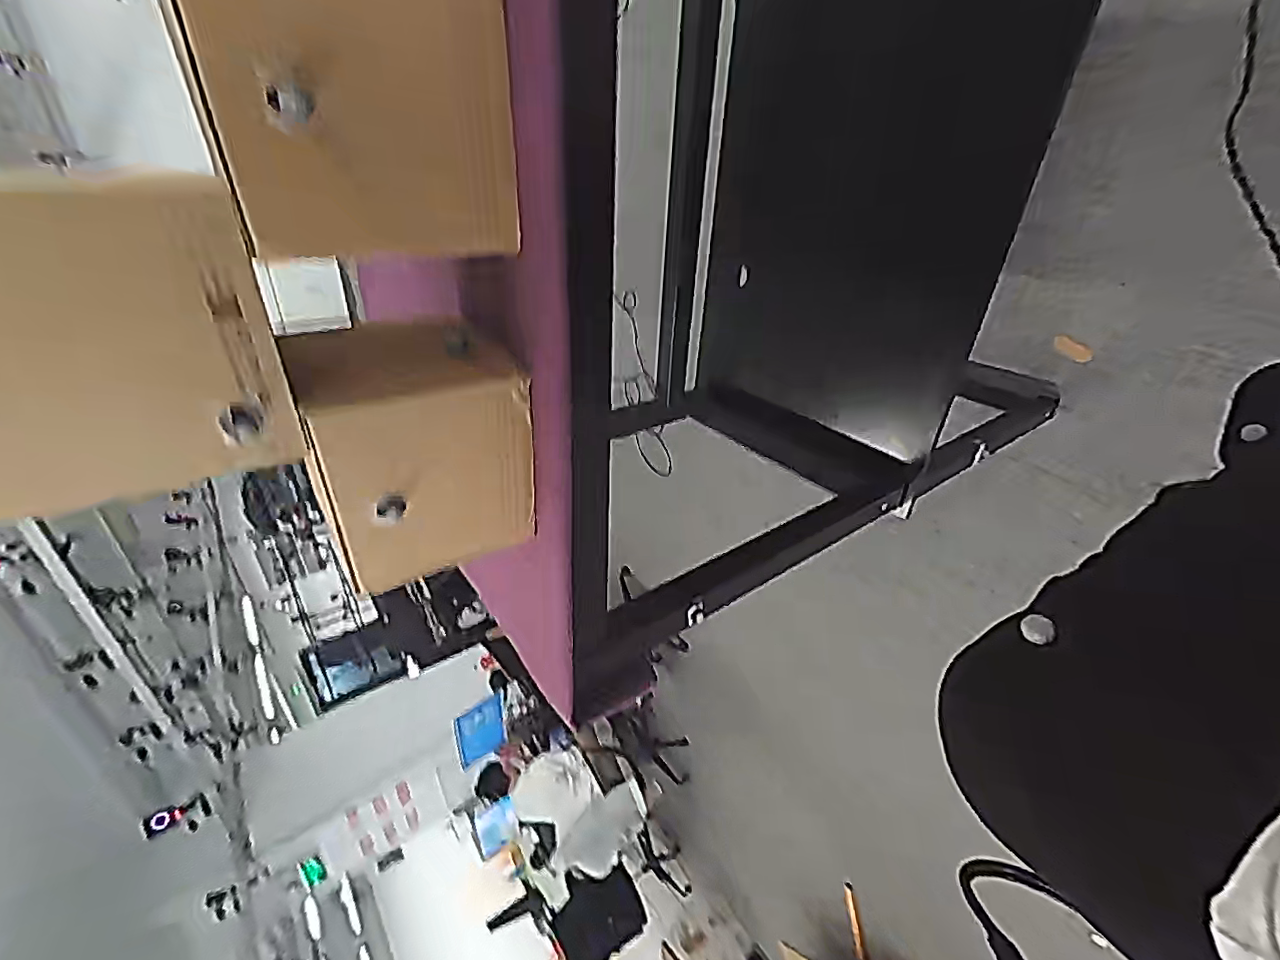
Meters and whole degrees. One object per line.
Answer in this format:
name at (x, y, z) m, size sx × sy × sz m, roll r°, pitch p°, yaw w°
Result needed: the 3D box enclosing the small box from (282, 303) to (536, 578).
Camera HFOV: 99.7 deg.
small box at (-0.204, -0.048, 0.493) m, size 0.168 × 0.176 × 0.179 m, roll 41°, pitch 136°, yaw 40°
